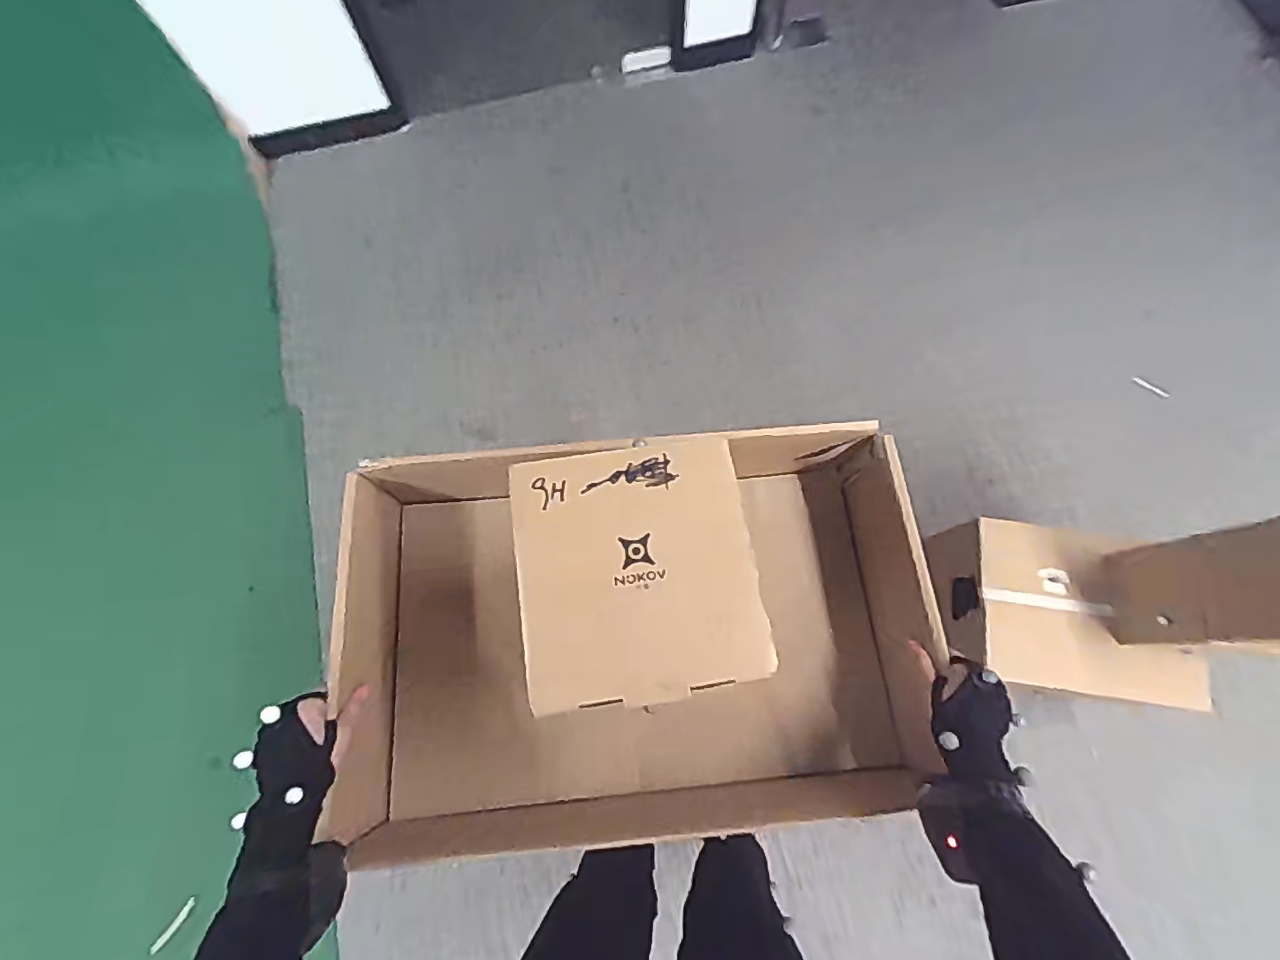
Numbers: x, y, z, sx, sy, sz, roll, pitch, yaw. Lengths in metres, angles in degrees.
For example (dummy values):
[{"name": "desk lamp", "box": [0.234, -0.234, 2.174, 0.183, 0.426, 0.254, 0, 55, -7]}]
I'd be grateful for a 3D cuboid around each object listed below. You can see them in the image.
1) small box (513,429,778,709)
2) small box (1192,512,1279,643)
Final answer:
[{"name": "small box", "box": [-0.002, 0.077, 0.448, 0.168, 0.176, 0.179, -7, 73, -4]}, {"name": "small box", "box": [0.977, 0.144, 0.792, 0.168, 0.176, 0.179, 4, 73, 2]}]
